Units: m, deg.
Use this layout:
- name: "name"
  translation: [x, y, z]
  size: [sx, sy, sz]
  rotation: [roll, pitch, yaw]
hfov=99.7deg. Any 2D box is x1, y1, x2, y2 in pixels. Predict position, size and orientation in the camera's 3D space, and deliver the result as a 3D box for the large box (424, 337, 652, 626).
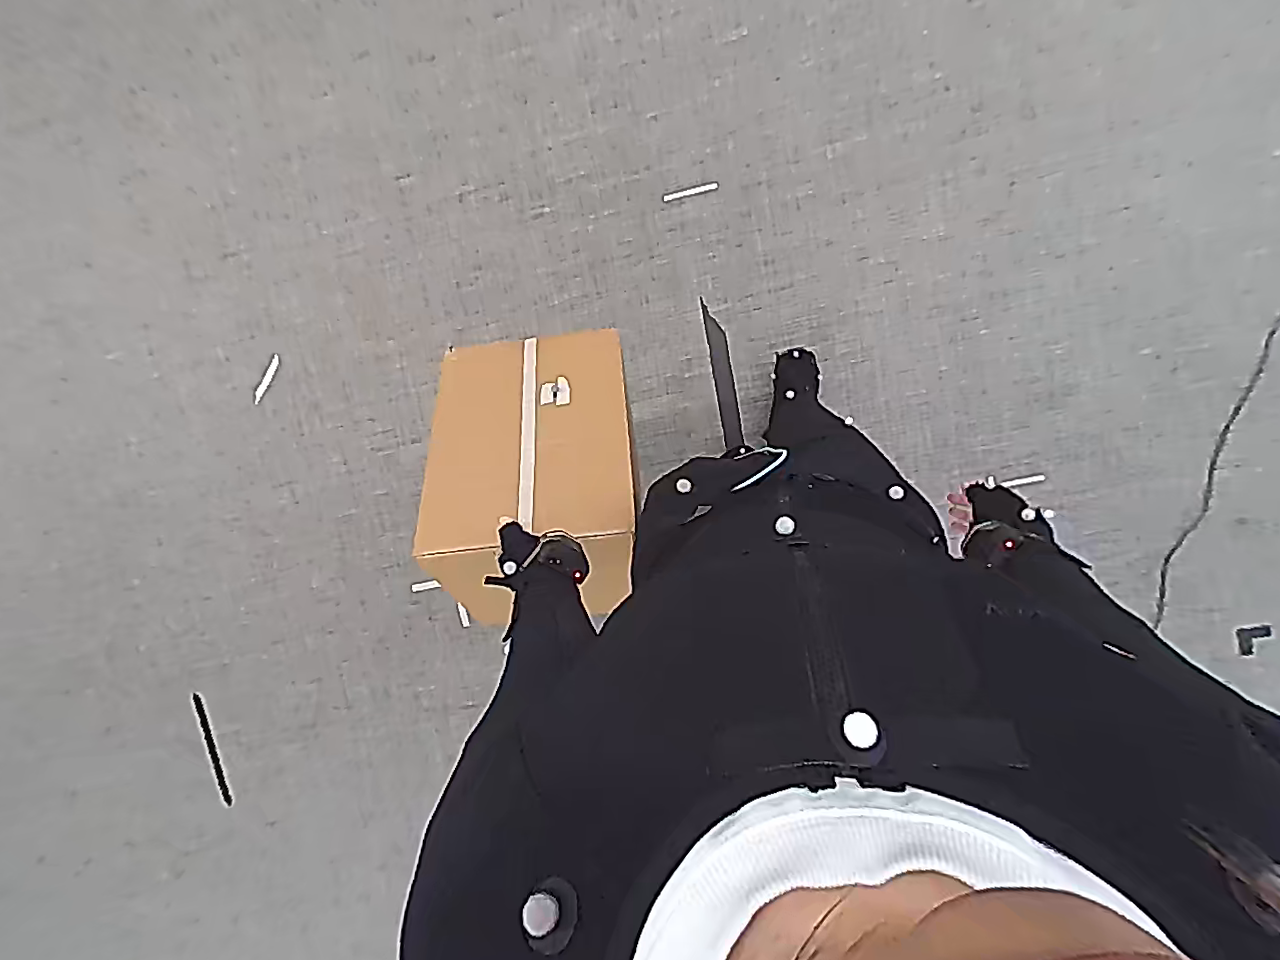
- name: "large box"
  translation: [-0.158, 0.008, 0.979]
  size: [0.320, 0.320, 0.408]
  rotation: [-6, 56, 0]
